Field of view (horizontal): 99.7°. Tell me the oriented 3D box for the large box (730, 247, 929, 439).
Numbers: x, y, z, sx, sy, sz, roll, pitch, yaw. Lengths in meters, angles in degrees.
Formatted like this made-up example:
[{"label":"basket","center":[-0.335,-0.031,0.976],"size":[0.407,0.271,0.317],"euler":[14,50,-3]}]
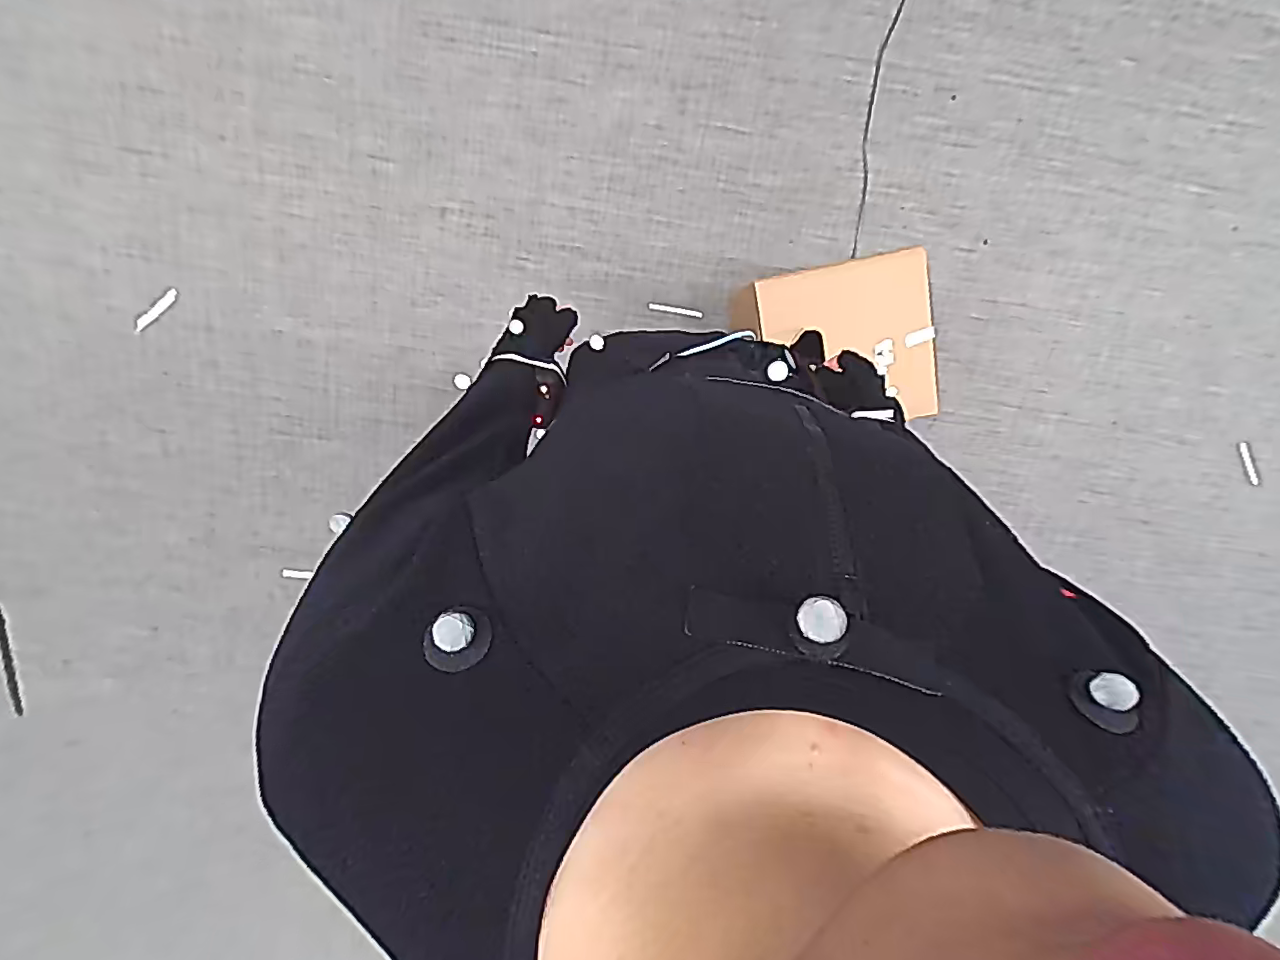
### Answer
[{"label":"large box","center":[0.396,-0.300,1.215],"size":[0.320,0.408,0.320],"euler":[-10,104,6]}]
